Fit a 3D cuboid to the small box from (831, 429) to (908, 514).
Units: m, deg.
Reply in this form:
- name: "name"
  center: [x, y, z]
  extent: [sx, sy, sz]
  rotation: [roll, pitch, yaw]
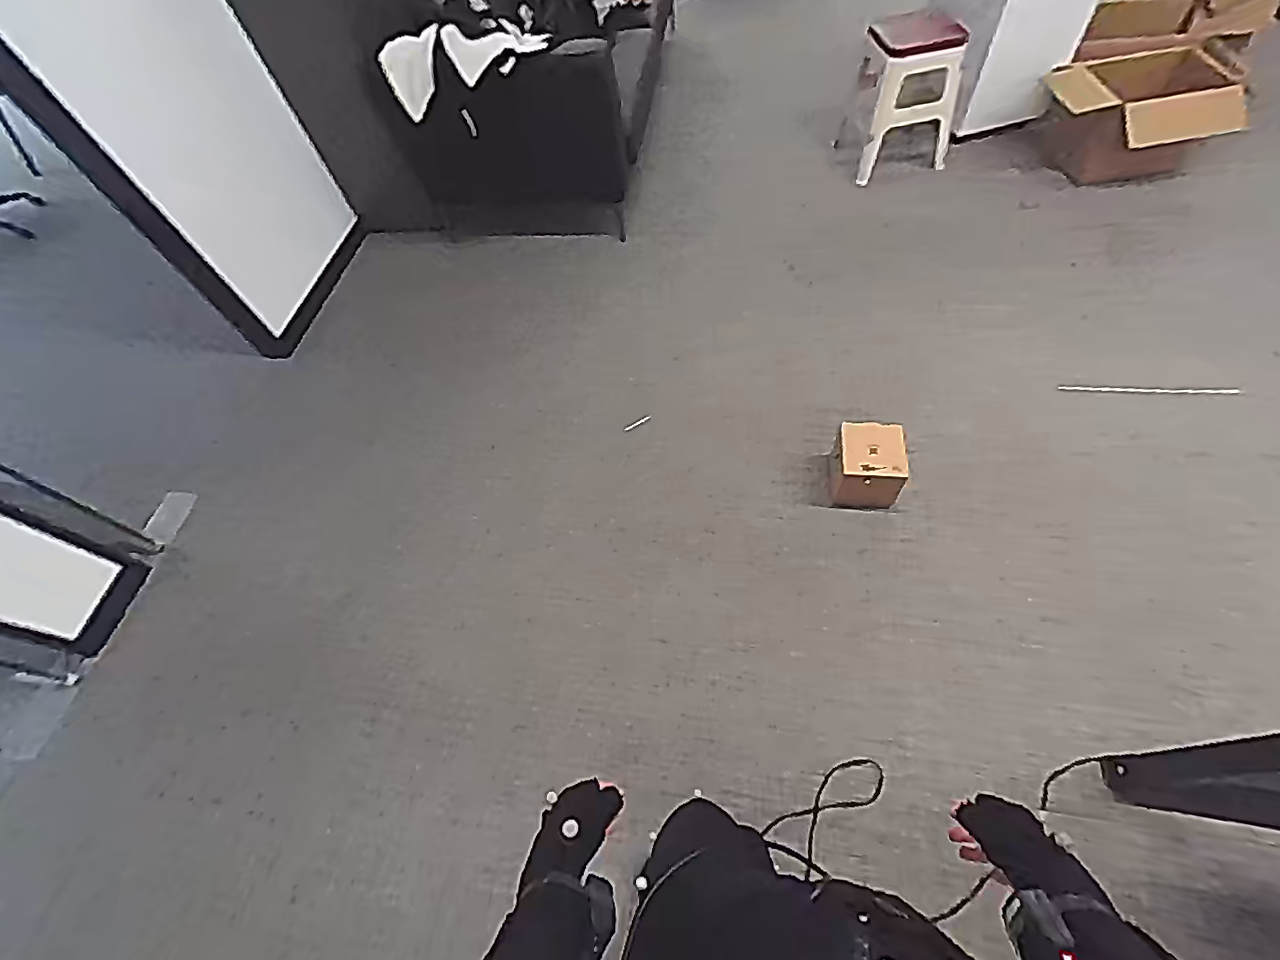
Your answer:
- name: "small box"
  center: [0.645, -0.024, 1.541]
  extent: [0.168, 0.176, 0.179]
  rotation: [3, 58, 10]
